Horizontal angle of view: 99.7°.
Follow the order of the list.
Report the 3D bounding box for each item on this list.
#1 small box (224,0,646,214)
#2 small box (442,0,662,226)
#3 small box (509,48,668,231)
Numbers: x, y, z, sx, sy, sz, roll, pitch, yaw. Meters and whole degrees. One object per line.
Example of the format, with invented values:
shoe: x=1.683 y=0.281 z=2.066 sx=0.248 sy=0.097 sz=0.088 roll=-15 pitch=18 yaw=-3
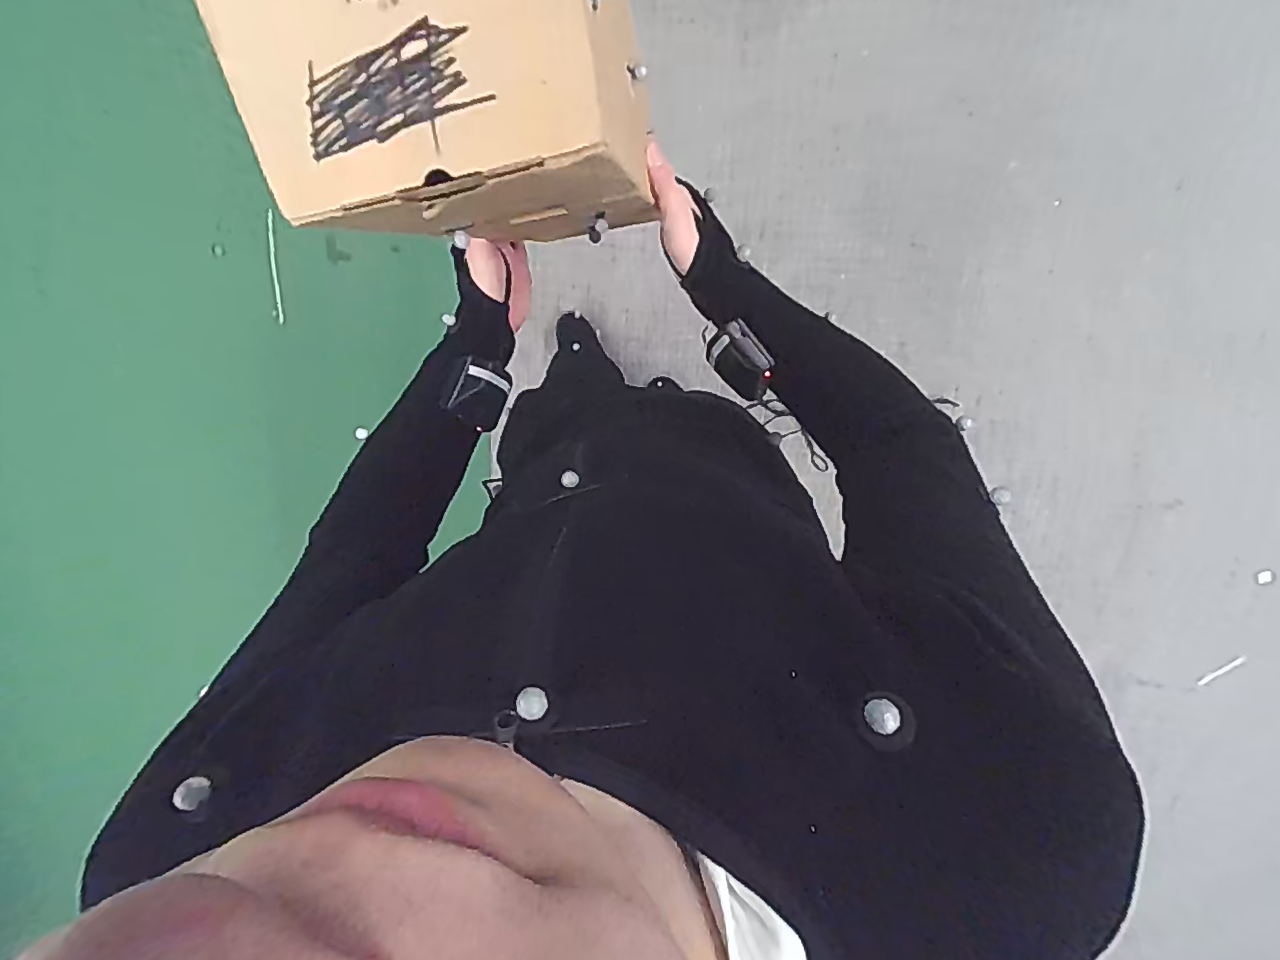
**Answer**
small box: x=-0.094 y=-0.254 z=0.296 sx=0.168 sy=0.176 sz=0.179 roll=-7 pitch=111 yaw=8
small box: x=-0.076 y=-0.315 z=0.447 sx=0.168 sy=0.176 sz=0.179 roll=-6 pitch=111 yaw=8
small box: x=-0.063 y=-0.381 z=0.596 sx=0.168 sy=0.176 sz=0.179 roll=-7 pitch=111 yaw=8
